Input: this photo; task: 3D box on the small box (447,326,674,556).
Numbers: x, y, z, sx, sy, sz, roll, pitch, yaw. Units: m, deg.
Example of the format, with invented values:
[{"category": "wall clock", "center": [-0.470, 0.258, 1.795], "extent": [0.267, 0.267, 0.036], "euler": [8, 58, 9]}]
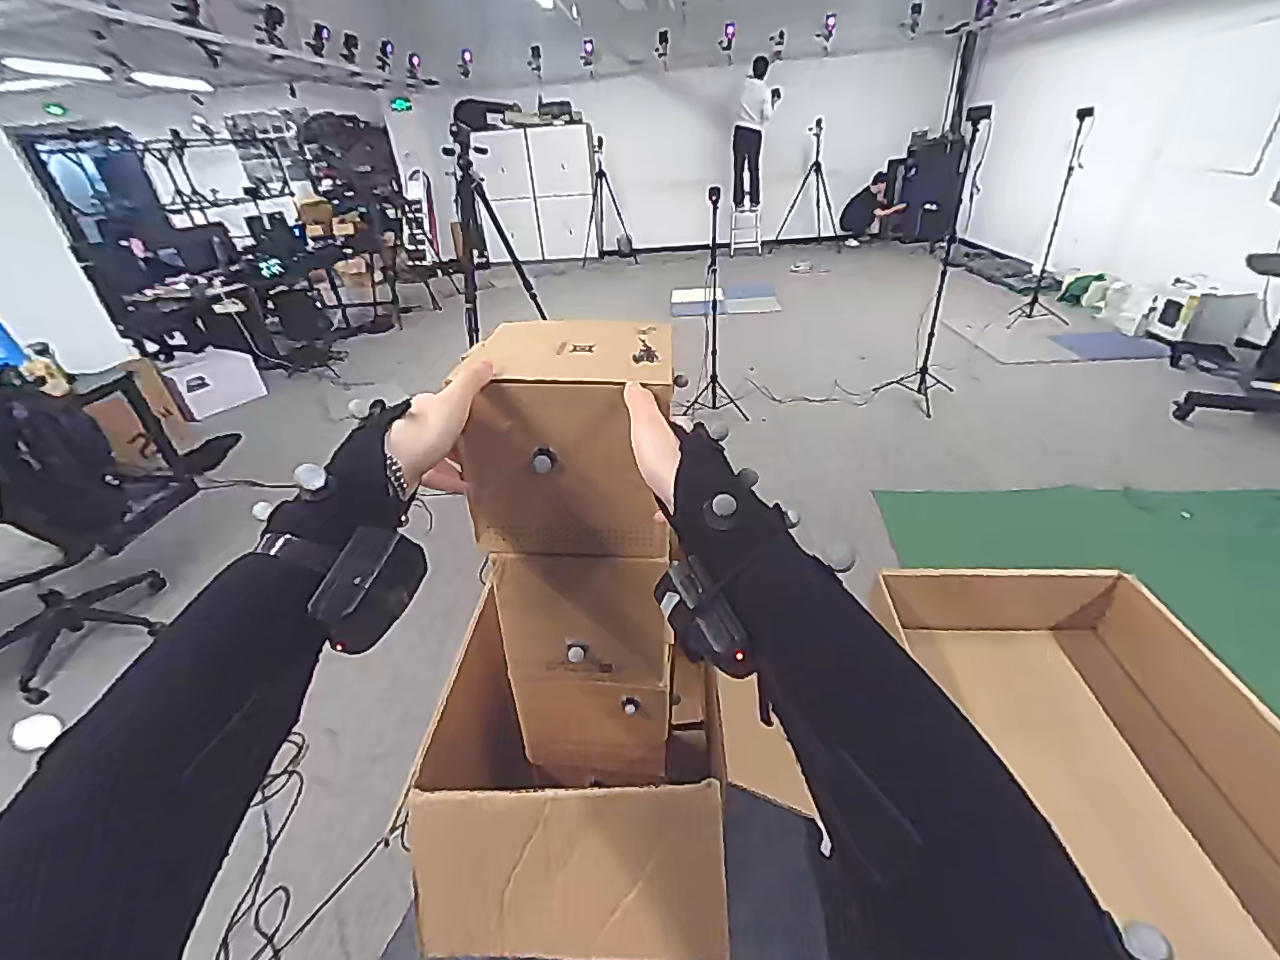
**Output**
[{"category": "small box", "center": [-0.057, -0.041, 0.518], "extent": [0.179, 0.176, 0.168], "euler": [1, 31, 3]}]

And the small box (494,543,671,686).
[{"category": "small box", "center": [-0.050, 0.100, 0.602], "extent": [0.168, 0.176, 0.179], "euler": [1, 32, 2]}]
